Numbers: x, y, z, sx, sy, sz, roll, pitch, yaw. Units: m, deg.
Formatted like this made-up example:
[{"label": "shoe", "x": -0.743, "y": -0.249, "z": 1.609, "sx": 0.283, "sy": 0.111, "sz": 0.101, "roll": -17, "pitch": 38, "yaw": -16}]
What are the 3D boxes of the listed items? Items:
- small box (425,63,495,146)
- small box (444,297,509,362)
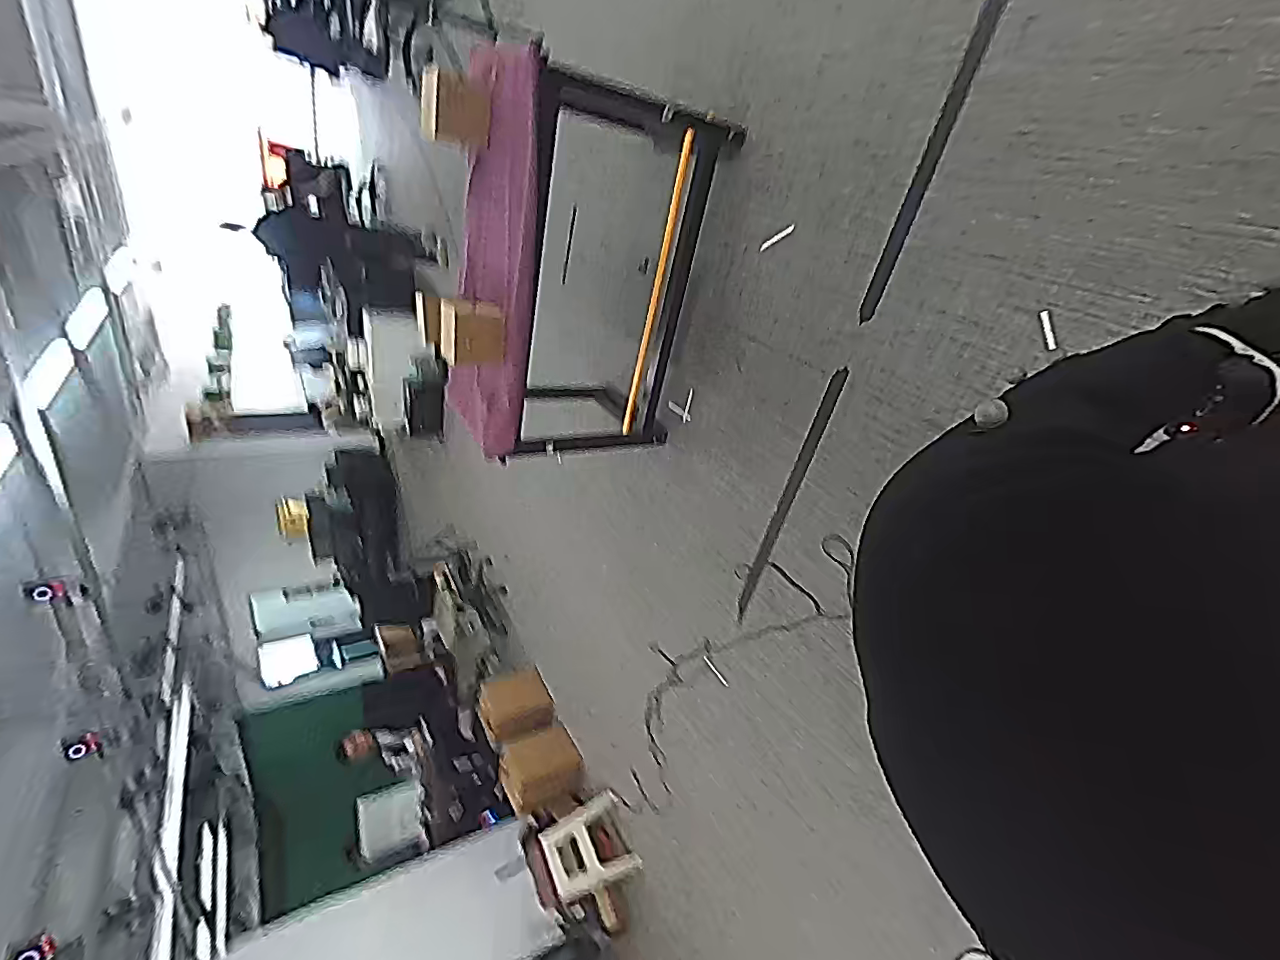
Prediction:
[{"label": "small box", "x": -0.567, "y": -1.181, "z": 1.703, "sx": 0.168, "sy": 0.176, "sz": 0.179, "roll": 44, "pitch": 130, "yaw": 43}, {"label": "small box", "x": -0.544, "y": -0.500, "z": 1.799, "sx": 0.168, "sy": 0.176, "sz": 0.179, "roll": 39, "pitch": 127, "yaw": 48}]
